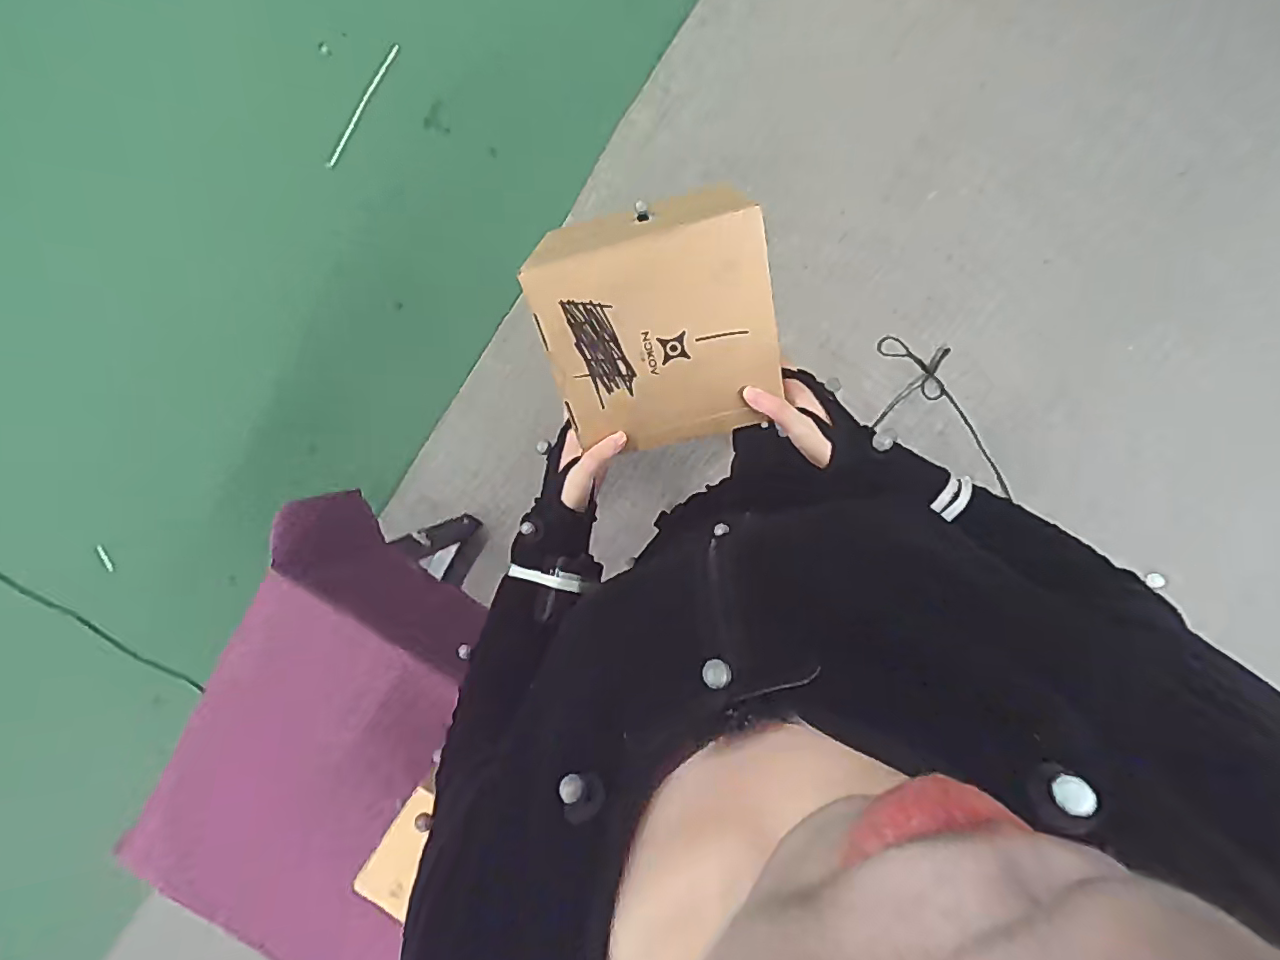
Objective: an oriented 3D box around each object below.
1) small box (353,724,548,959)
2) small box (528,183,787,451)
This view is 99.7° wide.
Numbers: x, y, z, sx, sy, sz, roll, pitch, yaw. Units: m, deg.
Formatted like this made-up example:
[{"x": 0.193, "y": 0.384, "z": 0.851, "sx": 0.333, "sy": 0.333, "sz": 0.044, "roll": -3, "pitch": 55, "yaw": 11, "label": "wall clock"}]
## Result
[{"x": -0.247, "y": 0.485, "z": 0.756, "sx": 0.168, "sy": 0.176, "sz": 0.179, "roll": 34, "pitch": 97, "yaw": 2, "label": "small box"}, {"x": 0.020, "y": -0.150, "z": 0.482, "sx": 0.179, "sy": 0.176, "sz": 0.168, "roll": -12, "pitch": 123, "yaw": 6, "label": "small box"}]
